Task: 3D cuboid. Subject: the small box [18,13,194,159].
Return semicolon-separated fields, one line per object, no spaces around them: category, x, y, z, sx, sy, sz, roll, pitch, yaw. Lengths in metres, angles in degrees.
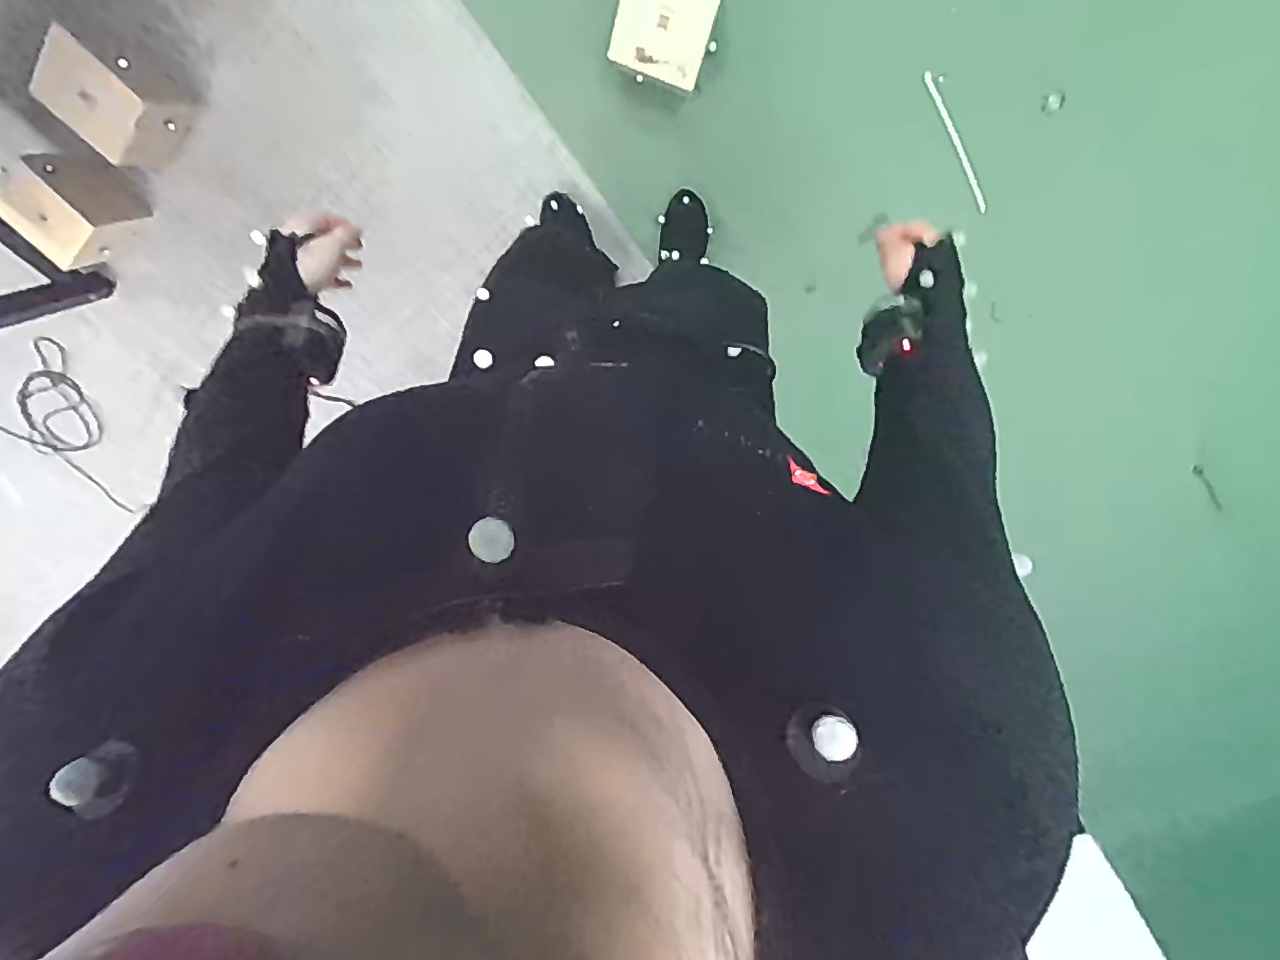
small box;-1.089;-0.803;1.118;0.168;0.176;0.179;-35;113;23

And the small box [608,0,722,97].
small box;0.049;-0.842;0.999;0.168;0.176;0.179;18;122;-7

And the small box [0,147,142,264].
small box;-1.328;-0.638;1.249;0.168;0.176;0.179;-29;116;21
